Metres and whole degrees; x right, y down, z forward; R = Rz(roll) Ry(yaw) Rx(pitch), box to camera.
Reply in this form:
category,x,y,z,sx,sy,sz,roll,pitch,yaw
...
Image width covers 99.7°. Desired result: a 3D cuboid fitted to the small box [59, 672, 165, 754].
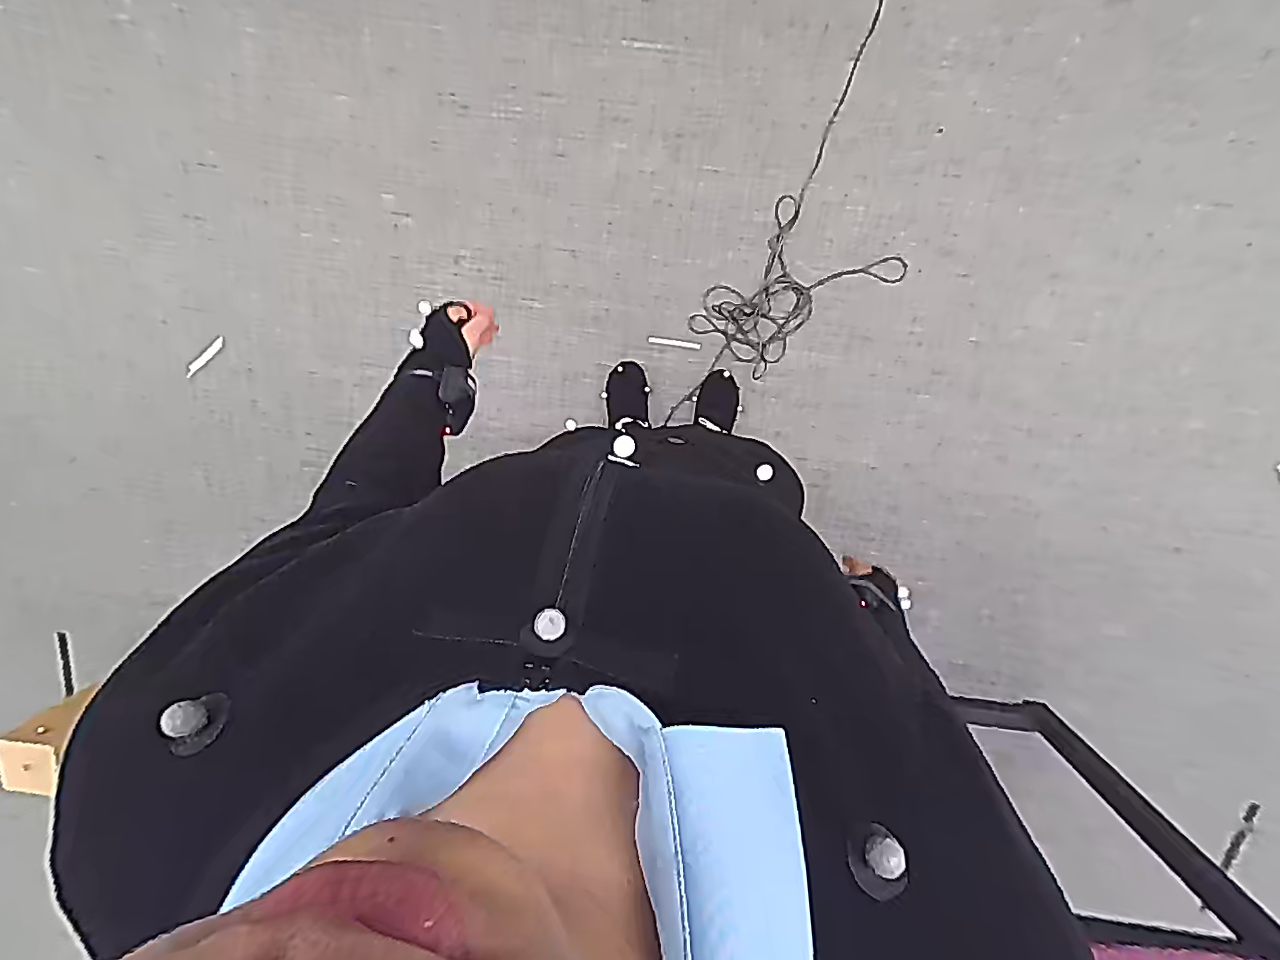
category,x,y,z,sx,sy,sz,roll,pitch,yaw
small box,-1.646,0.727,1.701,0.179,0.176,0.168,4,102,4

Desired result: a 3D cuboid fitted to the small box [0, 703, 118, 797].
category,x,y,z,sx,sy,sz,roll,pitch,yaw
small box,-1.659,0.761,1.542,0.179,0.176,0.168,5,103,3
